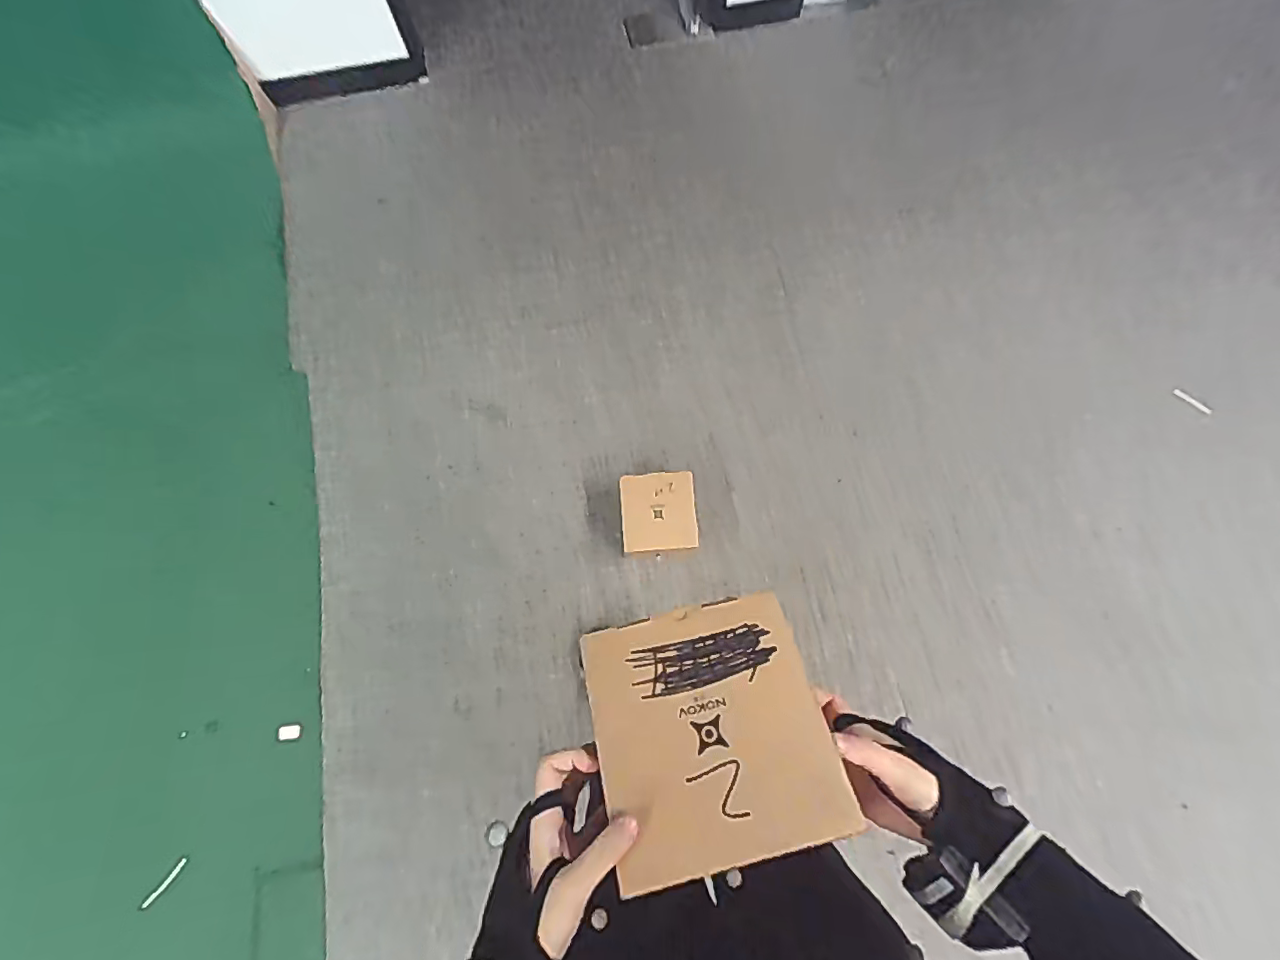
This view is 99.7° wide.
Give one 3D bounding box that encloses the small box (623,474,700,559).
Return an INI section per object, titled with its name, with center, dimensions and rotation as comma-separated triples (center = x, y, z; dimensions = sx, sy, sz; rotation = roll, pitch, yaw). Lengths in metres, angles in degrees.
[small box]
center = 0.049, 0.093, 1.274
dimensions = 0.168, 0.176, 0.179
rotation = -4, 76, 0
